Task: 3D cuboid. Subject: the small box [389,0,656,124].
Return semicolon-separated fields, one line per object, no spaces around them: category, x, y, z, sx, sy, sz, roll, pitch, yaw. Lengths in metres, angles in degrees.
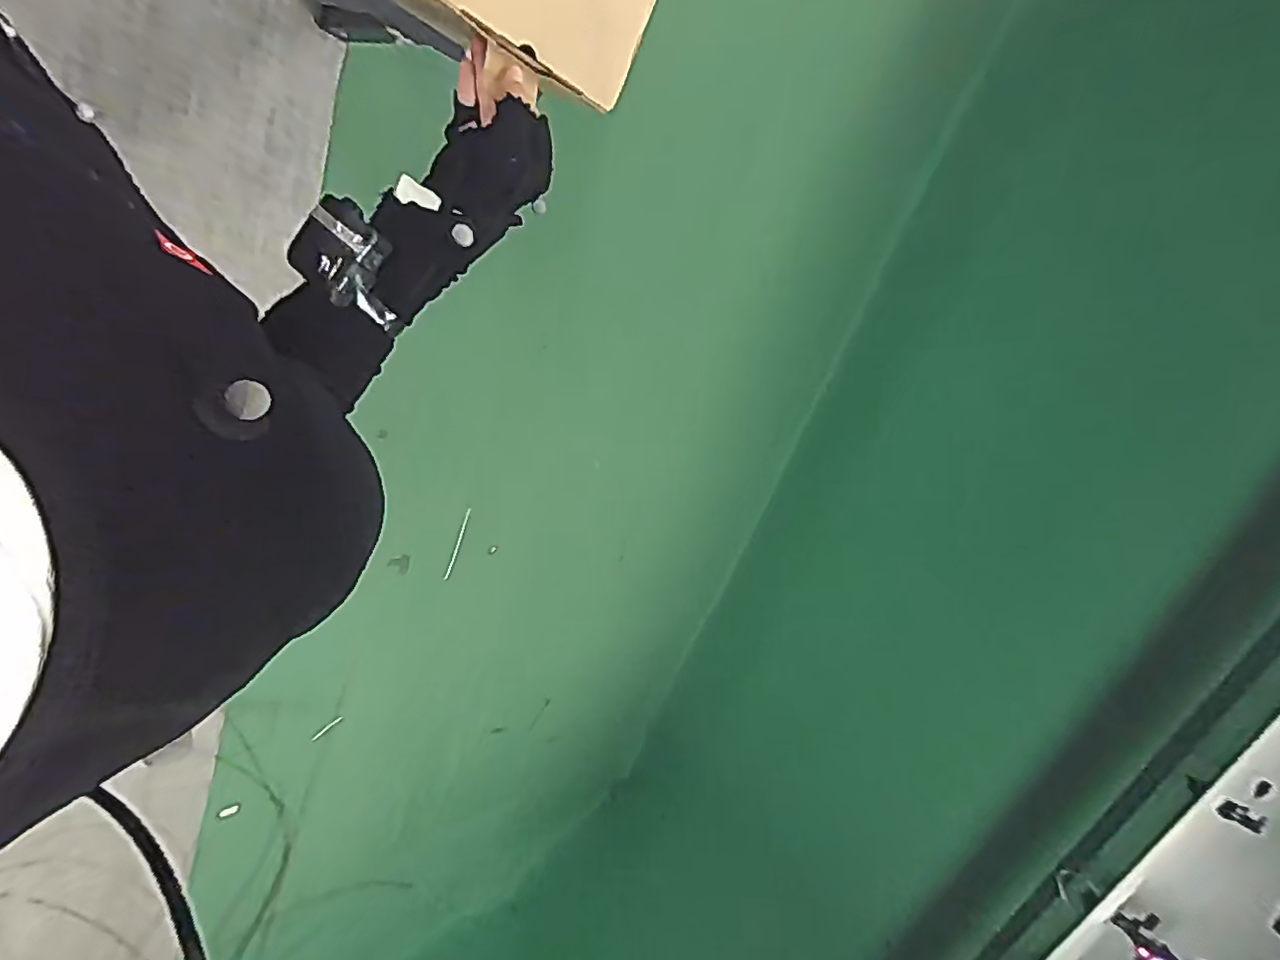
small box;-0.093;-0.420;0.413;0.168;0.176;0.179;2;125;-46
